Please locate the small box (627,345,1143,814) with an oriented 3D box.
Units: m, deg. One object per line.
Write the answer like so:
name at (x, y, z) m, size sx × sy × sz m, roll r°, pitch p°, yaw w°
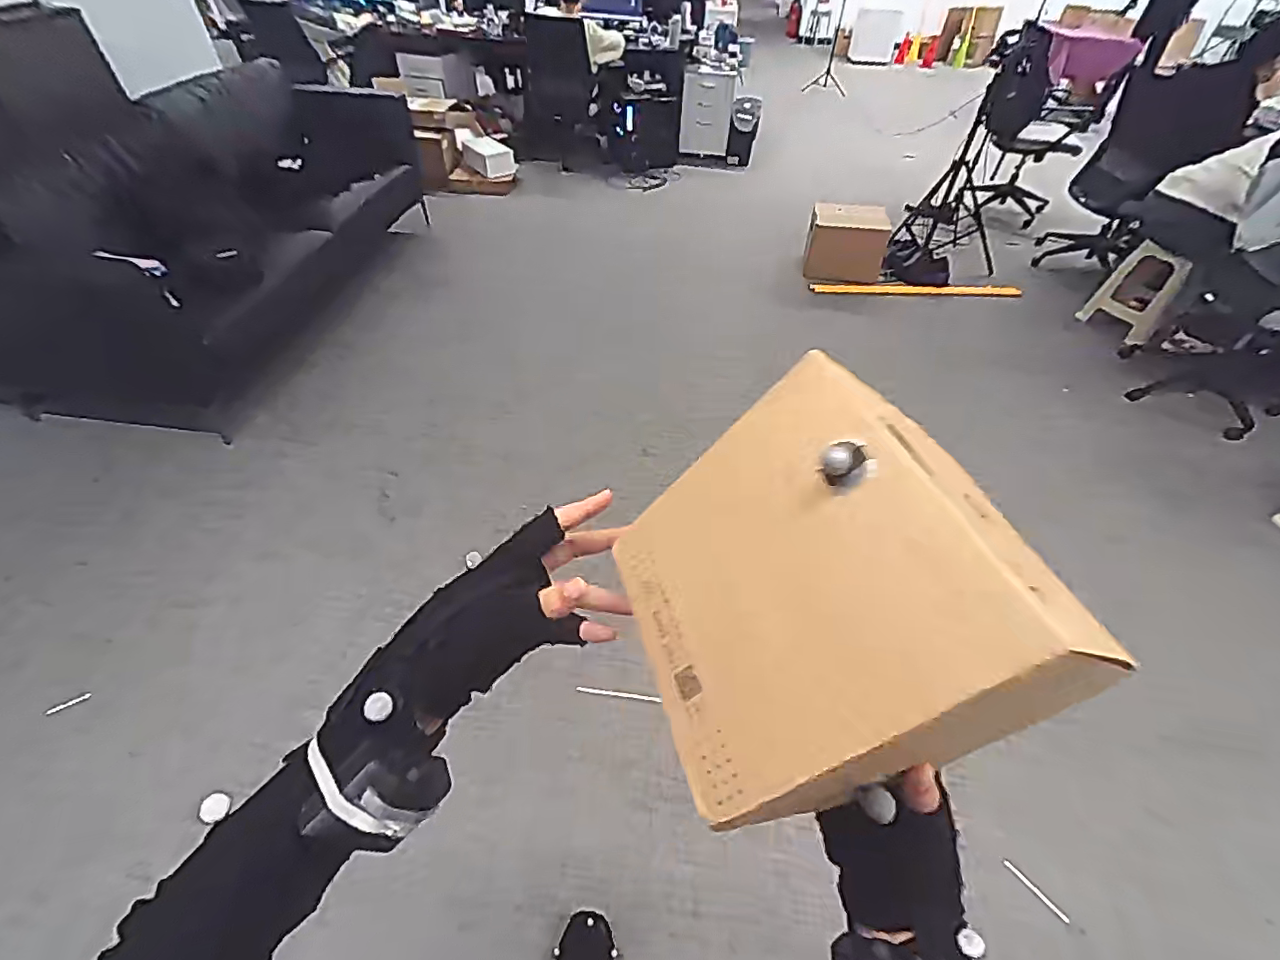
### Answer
small box at (0.122, 0.065, 0.307) m, size 0.179 × 0.176 × 0.168 m, roll 22°, pitch 35°, yaw -40°
